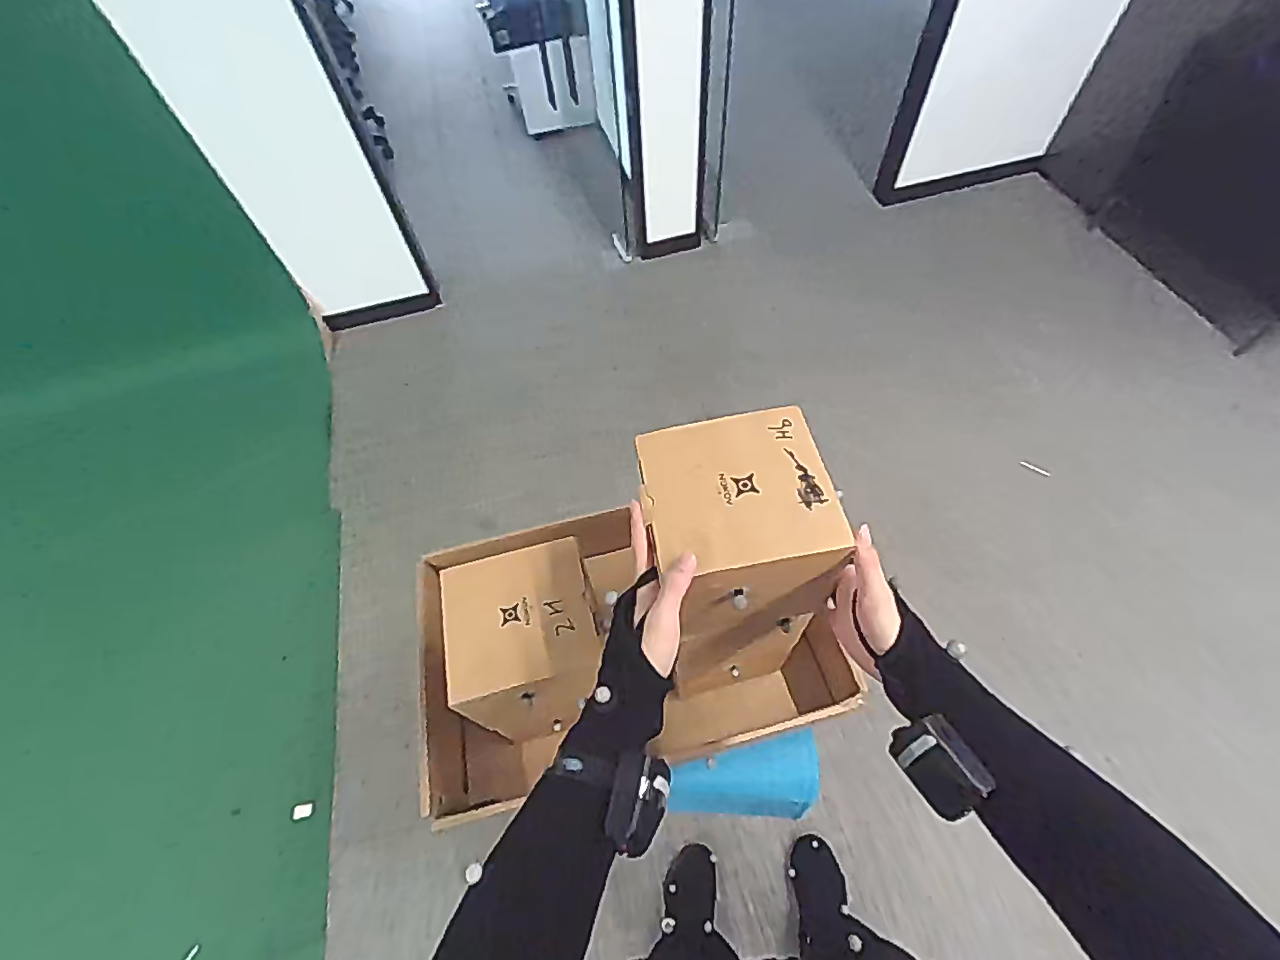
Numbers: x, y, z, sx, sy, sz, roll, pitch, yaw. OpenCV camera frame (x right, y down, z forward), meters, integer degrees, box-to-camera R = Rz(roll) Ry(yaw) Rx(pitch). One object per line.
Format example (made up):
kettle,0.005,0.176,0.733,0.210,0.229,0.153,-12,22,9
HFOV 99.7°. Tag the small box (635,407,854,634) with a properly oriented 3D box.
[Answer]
small box,0.100,0.051,0.574,0.179,0.176,0.168,-10,56,1

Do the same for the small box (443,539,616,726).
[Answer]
small box,-0.137,0.202,0.698,0.179,0.176,0.168,-13,57,-6
